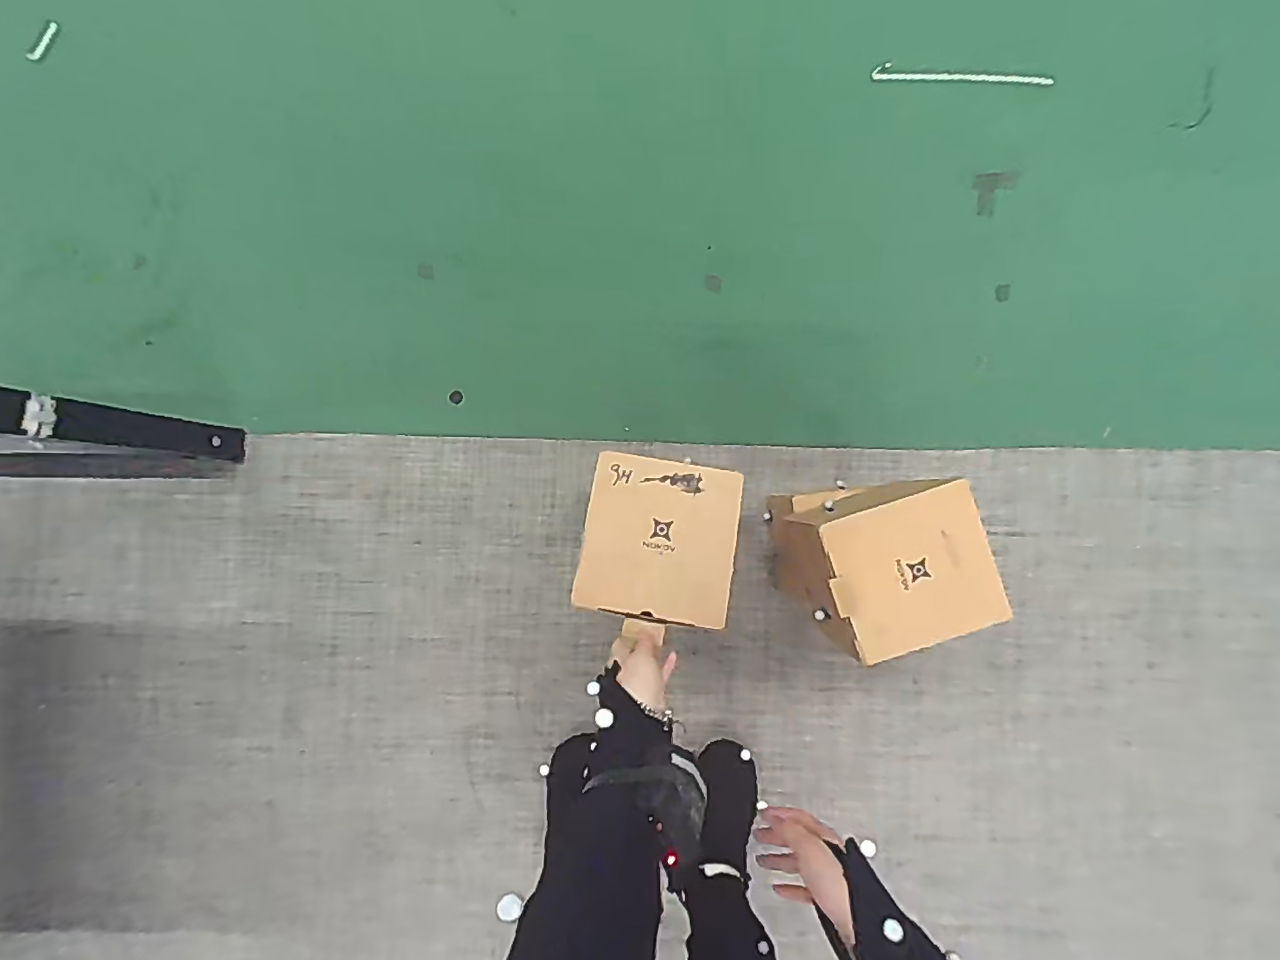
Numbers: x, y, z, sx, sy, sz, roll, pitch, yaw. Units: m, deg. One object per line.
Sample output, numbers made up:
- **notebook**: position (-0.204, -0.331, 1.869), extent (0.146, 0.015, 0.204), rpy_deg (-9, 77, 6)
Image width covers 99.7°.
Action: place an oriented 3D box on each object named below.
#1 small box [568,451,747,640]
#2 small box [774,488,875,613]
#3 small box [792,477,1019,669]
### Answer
- **small box**: position (0.021, 0.084, 0.647), extent (0.168, 0.176, 0.179), rpy_deg (11, 76, 2)
- **small box**: position (0.311, 0.099, 0.823), extent (0.179, 0.176, 0.168), rpy_deg (-6, 88, 0)
- **small box**: position (0.301, 0.103, 0.661), extent (0.179, 0.176, 0.168), rpy_deg (-19, 89, -1)
